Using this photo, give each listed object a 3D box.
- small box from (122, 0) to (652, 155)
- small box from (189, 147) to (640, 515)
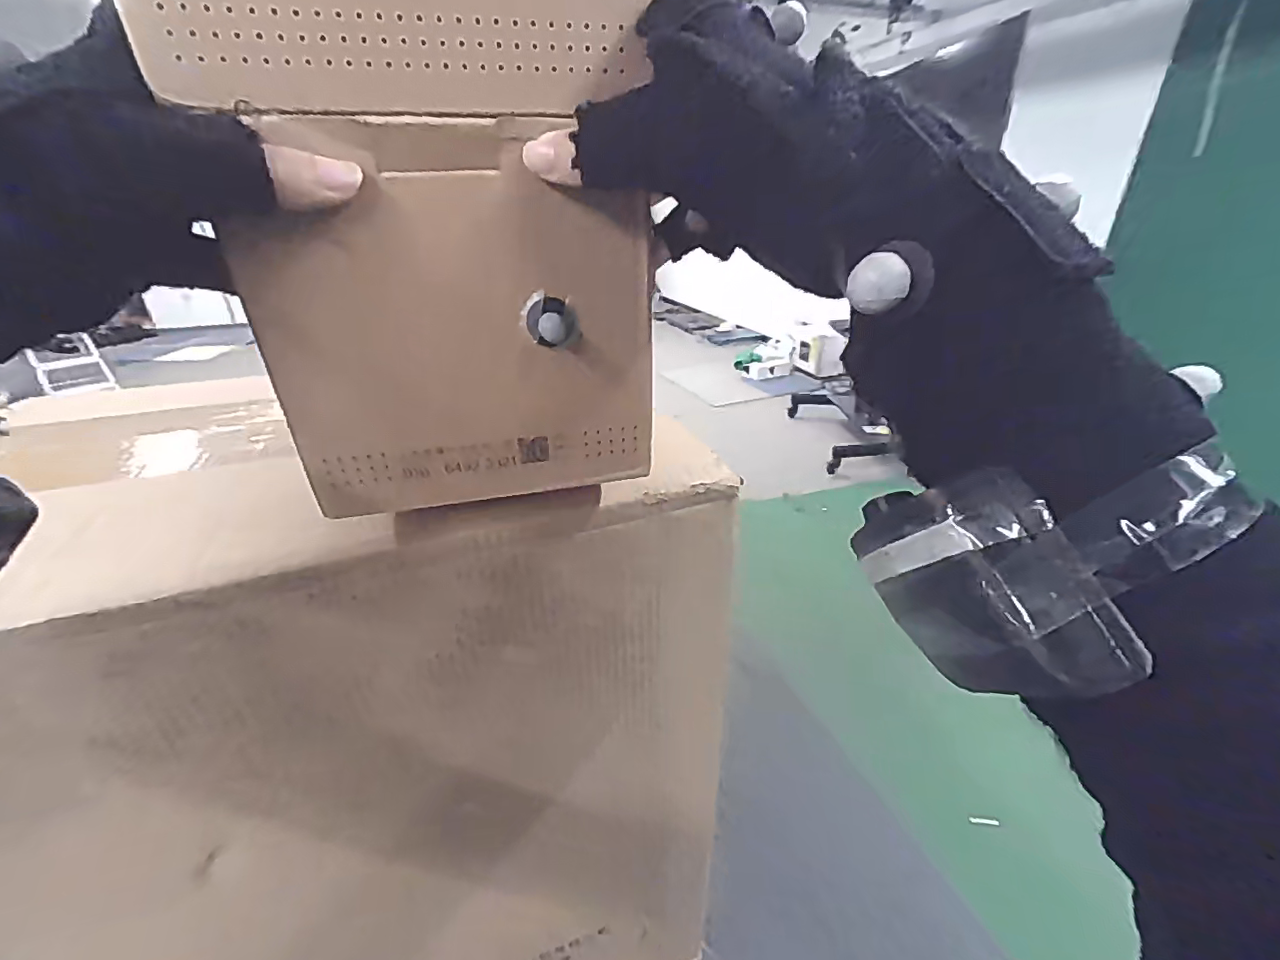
[{"bbox_3d":[-0.094,-0.231,0.225,0.179,0.176,0.168,-7,32,-15],"label":"small box"},{"bbox_3d":[-0.095,-0.091,0.312,0.168,0.176,0.179,-7,31,-11],"label":"small box"}]
